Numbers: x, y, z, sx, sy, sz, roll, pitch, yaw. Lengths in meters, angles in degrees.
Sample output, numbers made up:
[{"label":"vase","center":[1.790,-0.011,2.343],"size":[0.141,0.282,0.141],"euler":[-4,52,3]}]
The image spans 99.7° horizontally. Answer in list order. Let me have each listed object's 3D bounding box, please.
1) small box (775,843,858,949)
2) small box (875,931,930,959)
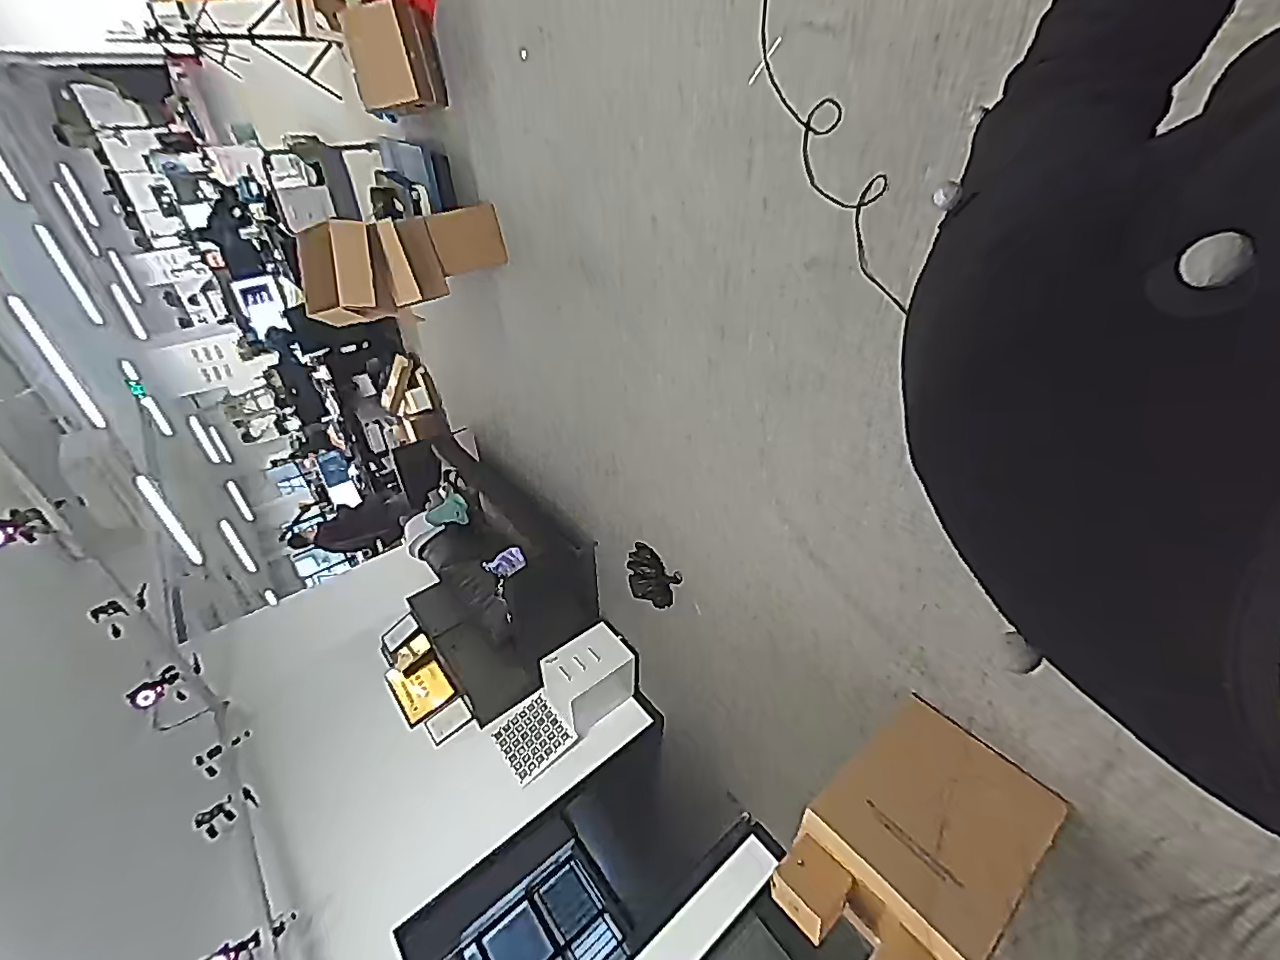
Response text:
[{"label":"small box","center":[0.541,1.269,1.669],"size":[0.179,0.176,0.168],"euler":[26,132,45]},{"label":"small box","center":[0.726,1.392,1.468],"size":[0.179,0.176,0.168],"euler":[38,138,39]}]
